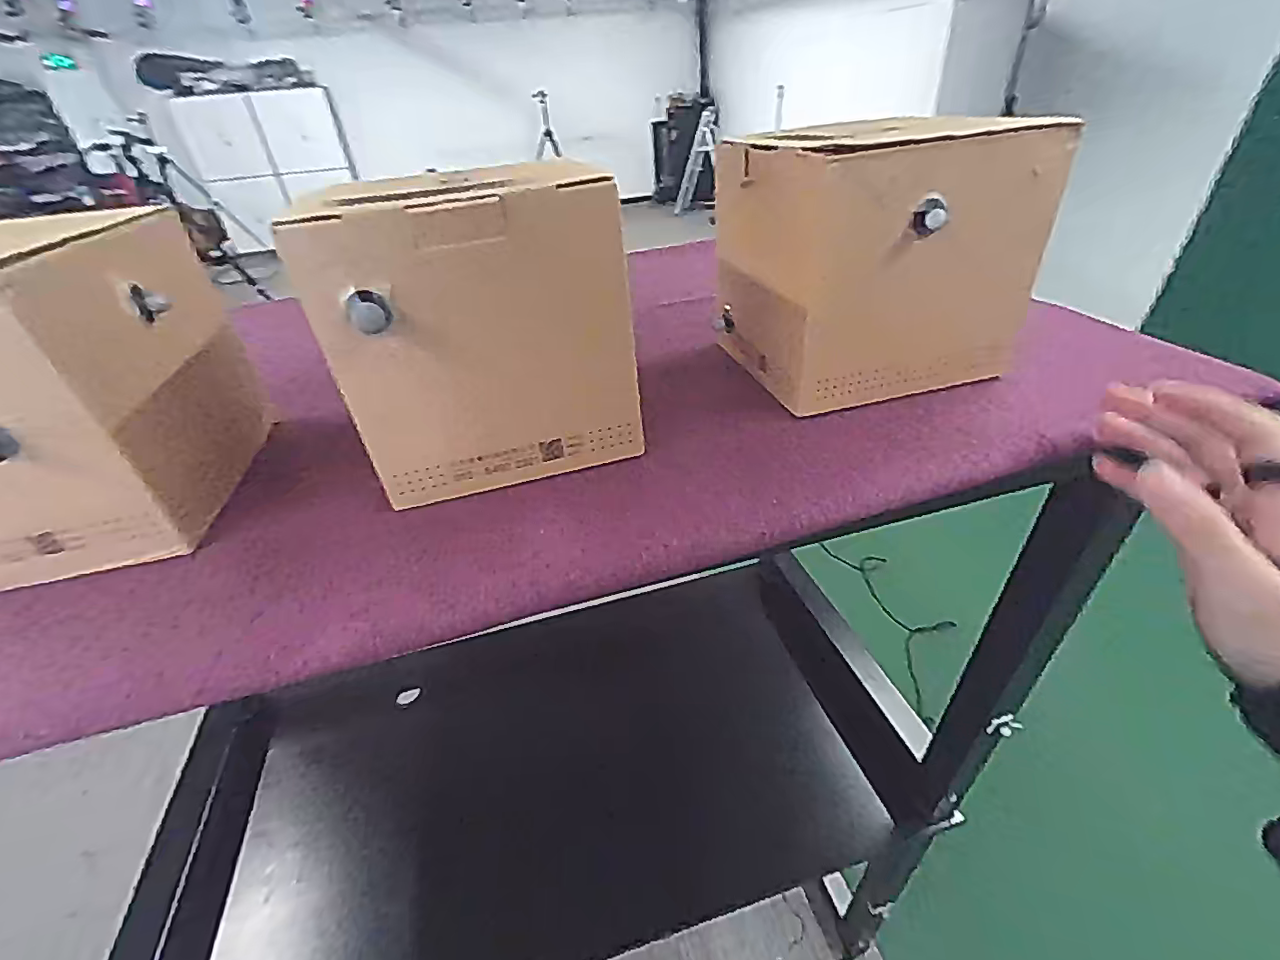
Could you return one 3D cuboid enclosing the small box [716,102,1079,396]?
[{"bbox_3d":[0.169,-0.178,0.417,0.179,0.176,0.168,-12,36,-9],"label":"small box"}]

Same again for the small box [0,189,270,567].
[{"bbox_3d":[-0.363,-0.061,0.323,0.168,0.176,0.179,-11,35,-9],"label":"small box"}]
